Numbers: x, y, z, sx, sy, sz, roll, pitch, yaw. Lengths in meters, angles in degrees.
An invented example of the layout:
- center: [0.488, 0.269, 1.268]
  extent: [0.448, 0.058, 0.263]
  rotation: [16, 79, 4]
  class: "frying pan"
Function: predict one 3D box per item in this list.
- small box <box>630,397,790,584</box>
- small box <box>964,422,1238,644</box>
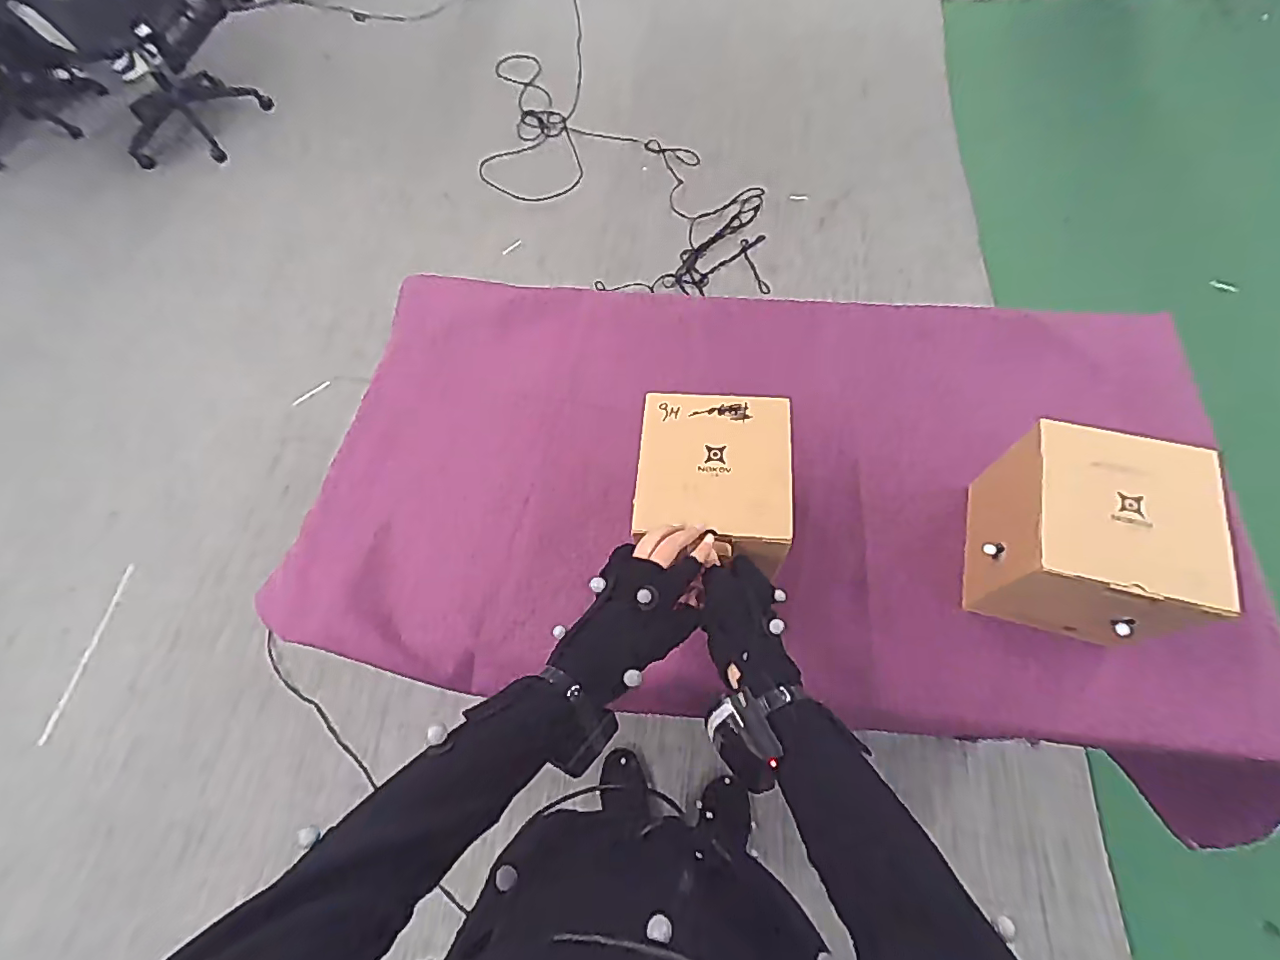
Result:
- center: [0.087, 0.020, 0.658]
  extent: [0.168, 0.176, 0.179]
  rotation: [4, 65, 6]
  class: "small box"
- center: [0.484, 0.067, 0.599]
  extent: [0.168, 0.176, 0.179]
  rotation: [14, 65, 12]
  class: "small box"
